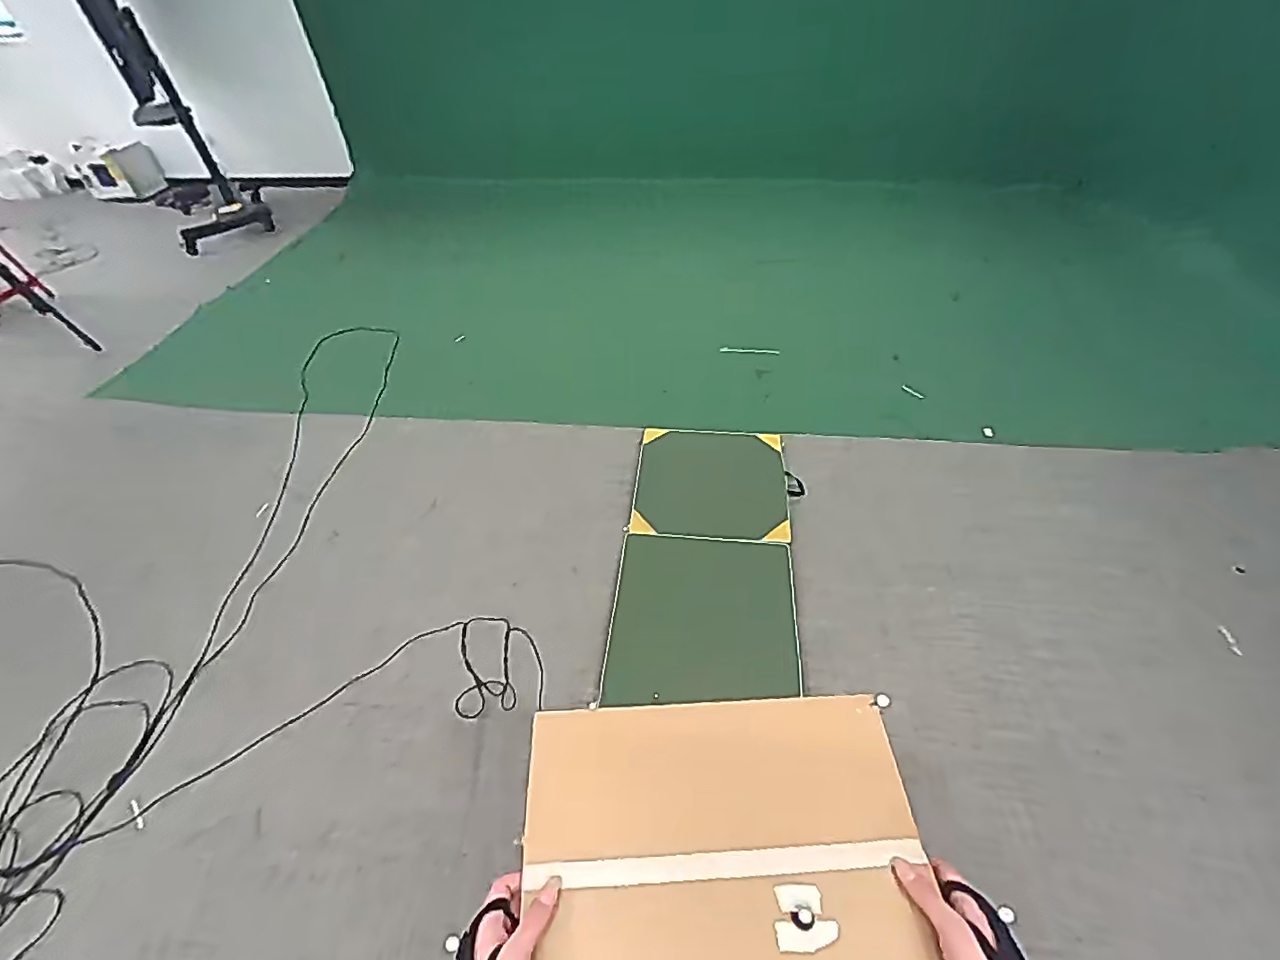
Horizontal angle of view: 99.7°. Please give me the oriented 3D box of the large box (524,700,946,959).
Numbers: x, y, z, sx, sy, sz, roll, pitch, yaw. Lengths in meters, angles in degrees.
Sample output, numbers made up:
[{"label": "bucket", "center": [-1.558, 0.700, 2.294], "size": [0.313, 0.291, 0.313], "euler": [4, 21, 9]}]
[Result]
[{"label": "large box", "center": [0.083, 0.492, 0.665], "size": [0.408, 0.320, 0.320], "euler": [-3, 51, -2]}]
